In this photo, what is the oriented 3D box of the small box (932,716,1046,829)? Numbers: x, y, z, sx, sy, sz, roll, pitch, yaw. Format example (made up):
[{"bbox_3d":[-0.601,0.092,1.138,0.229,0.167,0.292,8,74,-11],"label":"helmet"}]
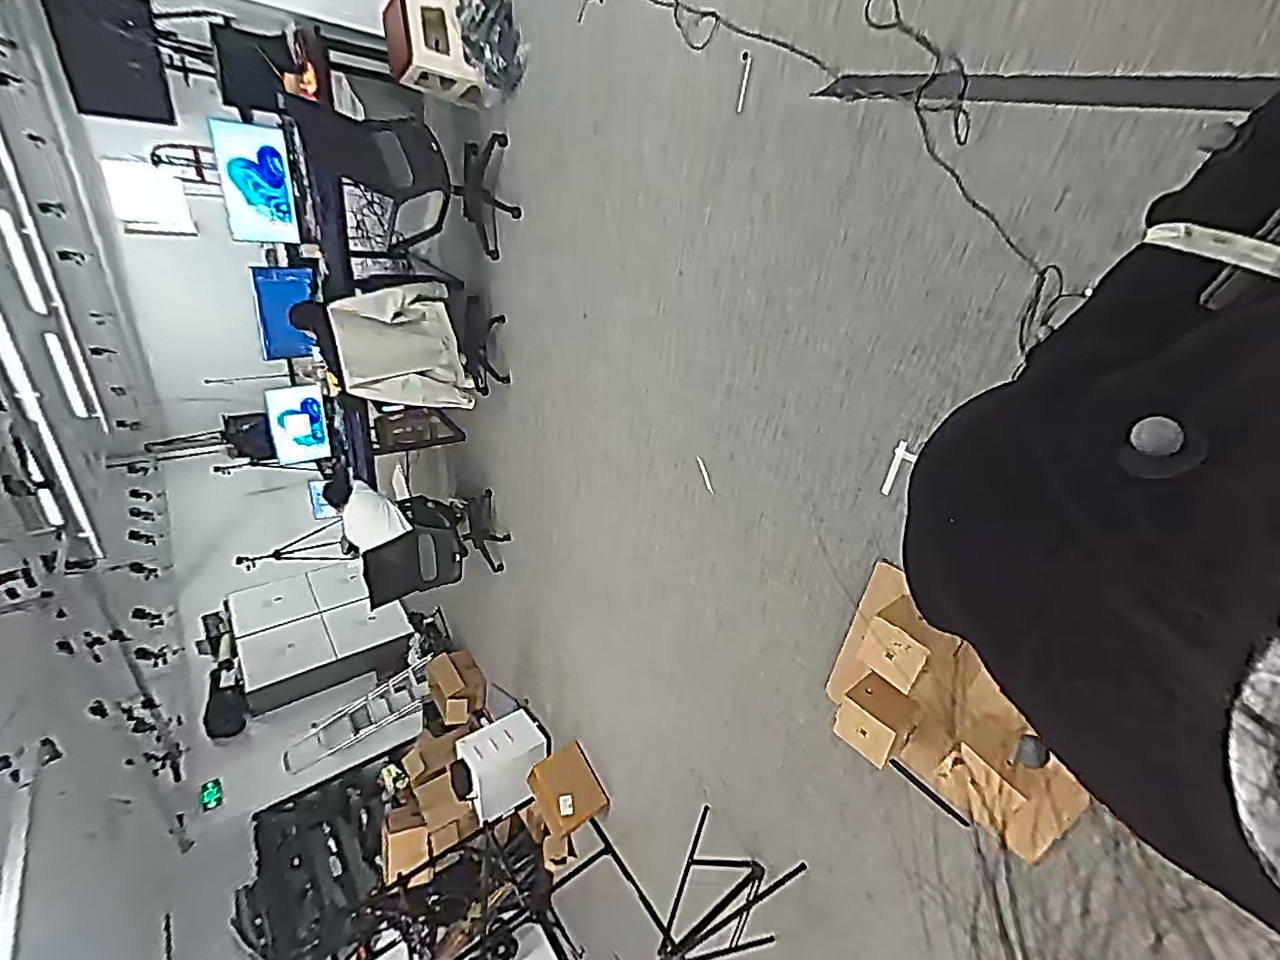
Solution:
[{"bbox_3d":[0.936,0.776,1.449,0.179,0.176,0.168,43,133,33],"label":"small box"}]

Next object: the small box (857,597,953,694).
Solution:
[{"bbox_3d":[0.768,0.472,1.565,0.168,0.176,0.179,36,128,40],"label":"small box"}]

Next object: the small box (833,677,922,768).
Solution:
[{"bbox_3d":[0.744,0.750,1.698,0.179,0.176,0.168,31,127,44],"label":"small box"}]
